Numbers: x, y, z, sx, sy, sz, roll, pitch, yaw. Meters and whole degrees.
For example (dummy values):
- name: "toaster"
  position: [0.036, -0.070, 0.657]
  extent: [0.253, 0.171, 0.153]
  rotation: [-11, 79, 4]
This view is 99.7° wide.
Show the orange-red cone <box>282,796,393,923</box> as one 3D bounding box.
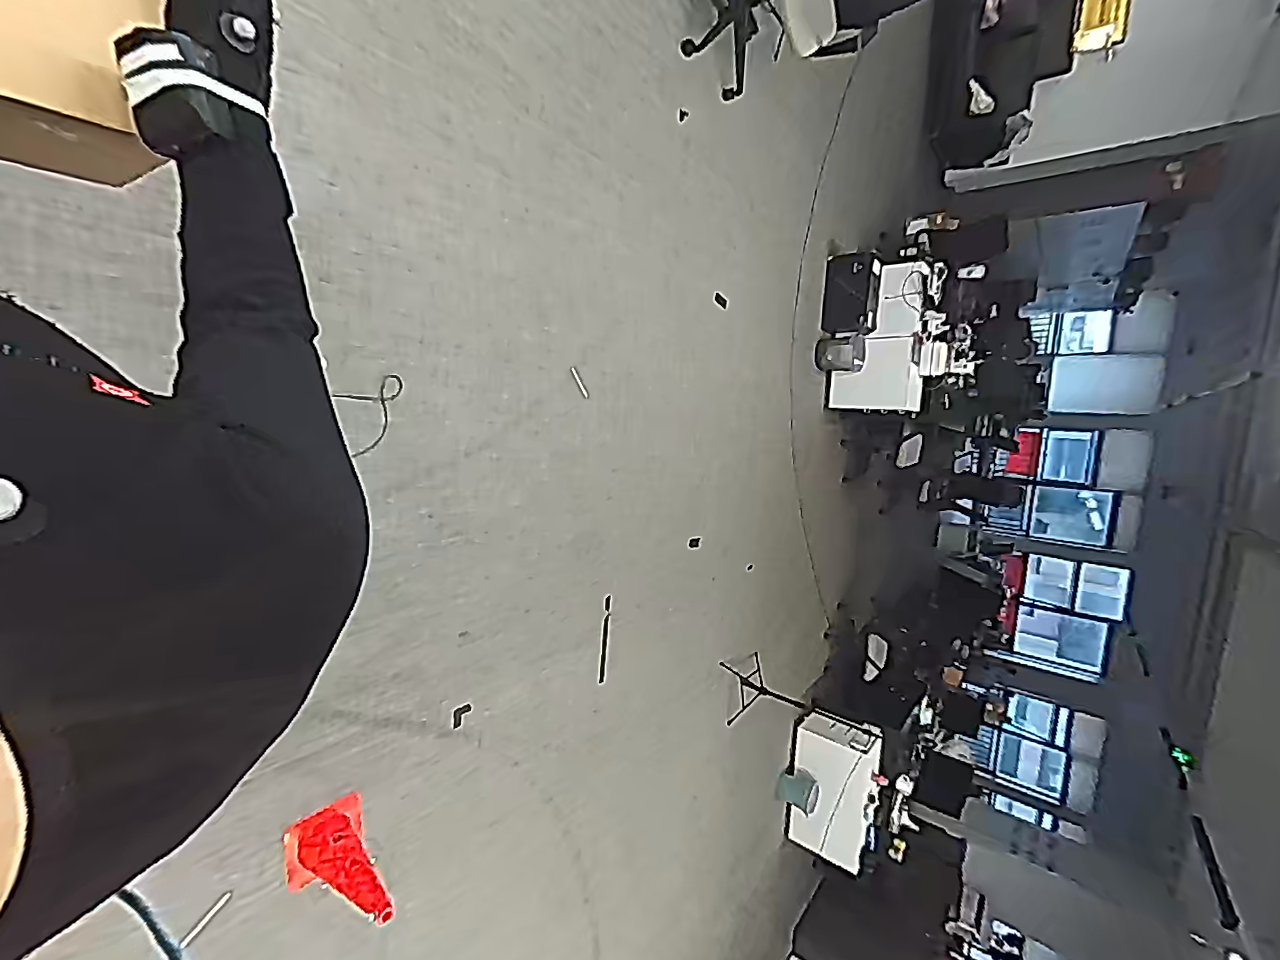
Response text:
- name: "orange-red cone"
  position: [-0.755, 1.035, 1.412]
  extent: [0.198, 0.360, 0.199]
  rotation: [-8, 102, -52]

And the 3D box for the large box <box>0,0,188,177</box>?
- name: "large box"
  position: [-0.581, -0.429, 0.330]
  extent: [0.408, 0.320, 0.320]
  rotation: [-8, 110, -51]
